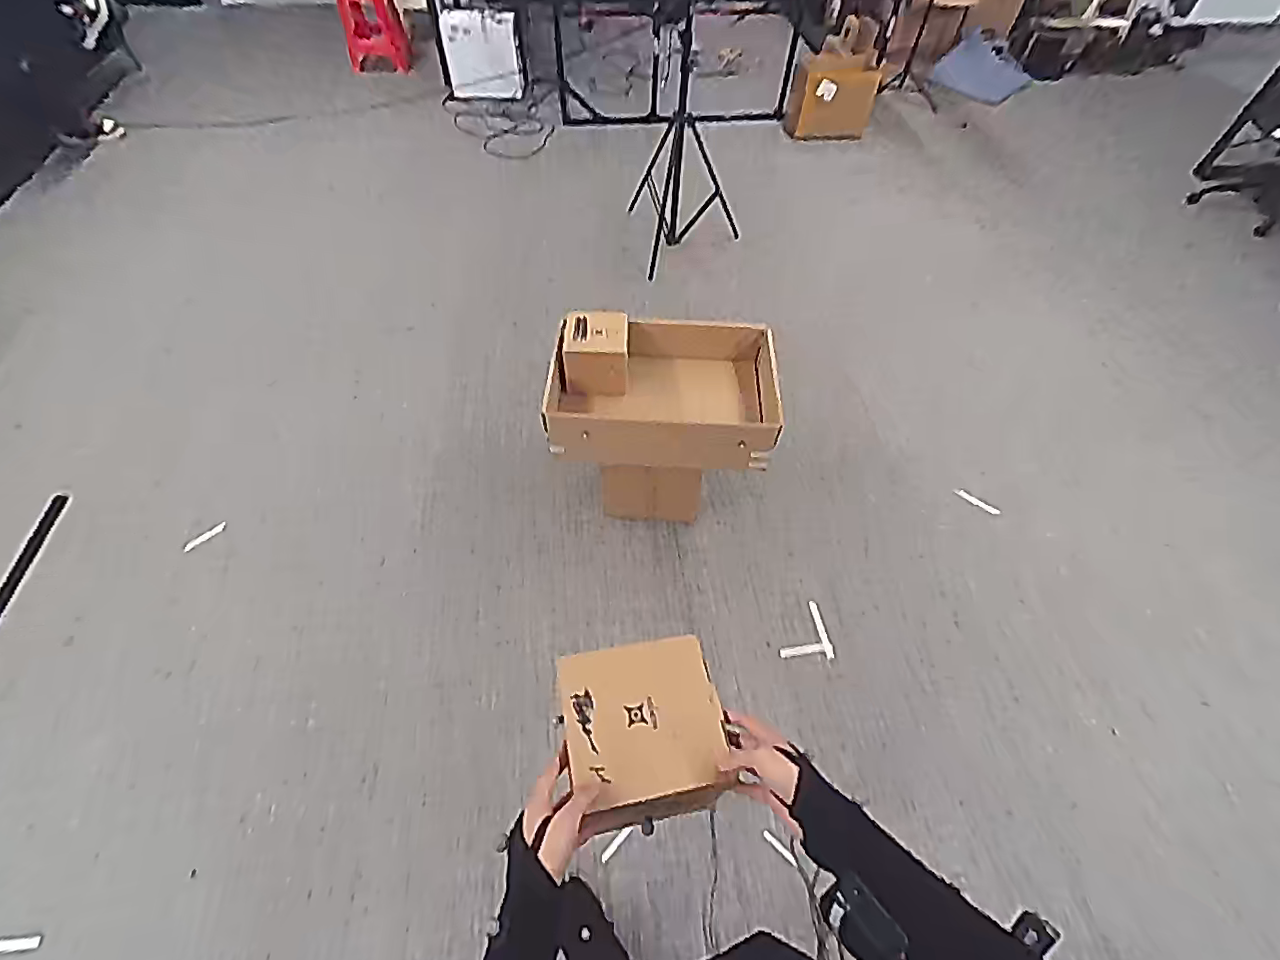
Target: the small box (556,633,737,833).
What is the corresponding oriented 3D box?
[{"bbox_3d":[-0.006,0.306,0.654,0.179,0.176,0.168,-4,50,-13],"label":"small box"}]
